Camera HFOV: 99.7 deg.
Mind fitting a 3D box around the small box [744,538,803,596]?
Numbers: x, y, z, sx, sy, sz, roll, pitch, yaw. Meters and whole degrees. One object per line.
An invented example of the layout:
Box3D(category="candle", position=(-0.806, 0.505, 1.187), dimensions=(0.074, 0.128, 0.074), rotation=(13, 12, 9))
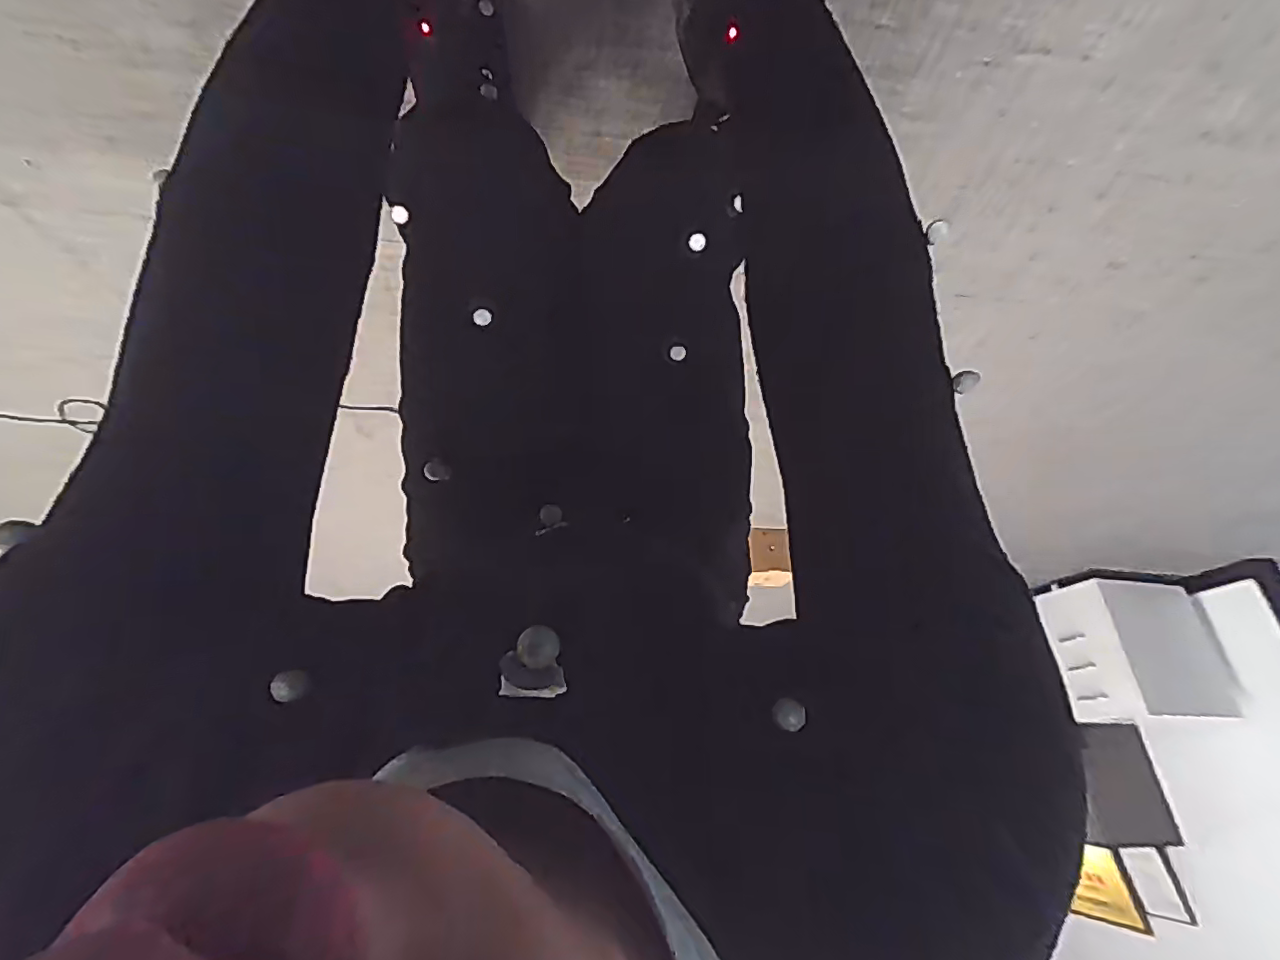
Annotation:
Box3D(category="small box", position=(0.491, 0.324, 2.020), dimensions=(0.168, 0.176, 0.179), rotation=(3, 151, -2))
